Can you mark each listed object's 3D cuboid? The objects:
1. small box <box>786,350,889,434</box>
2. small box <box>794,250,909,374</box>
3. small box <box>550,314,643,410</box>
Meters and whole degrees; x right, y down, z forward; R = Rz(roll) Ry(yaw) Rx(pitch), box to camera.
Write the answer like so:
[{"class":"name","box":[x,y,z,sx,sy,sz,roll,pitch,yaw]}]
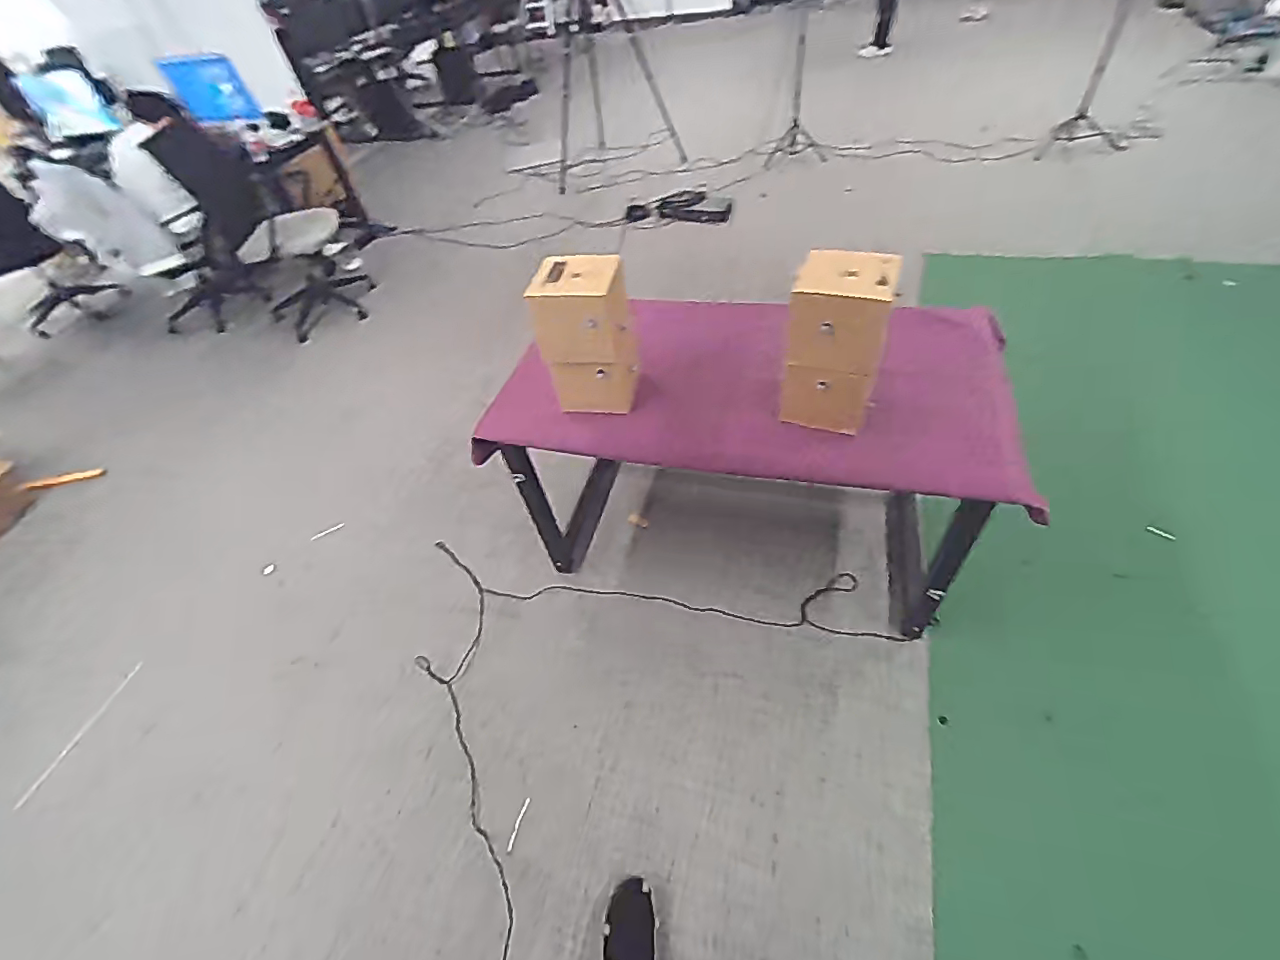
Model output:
[{"class":"small box","box":[0.428,-0.223,1.184,0.179,0.176,0.168,17,54,22]},{"class":"small box","box":[0.408,-0.328,1.061,0.179,0.176,0.168,14,53,21]},{"class":"small box","box":[-0.095,-0.286,1.322,0.179,0.176,0.168,4,50,13]}]
